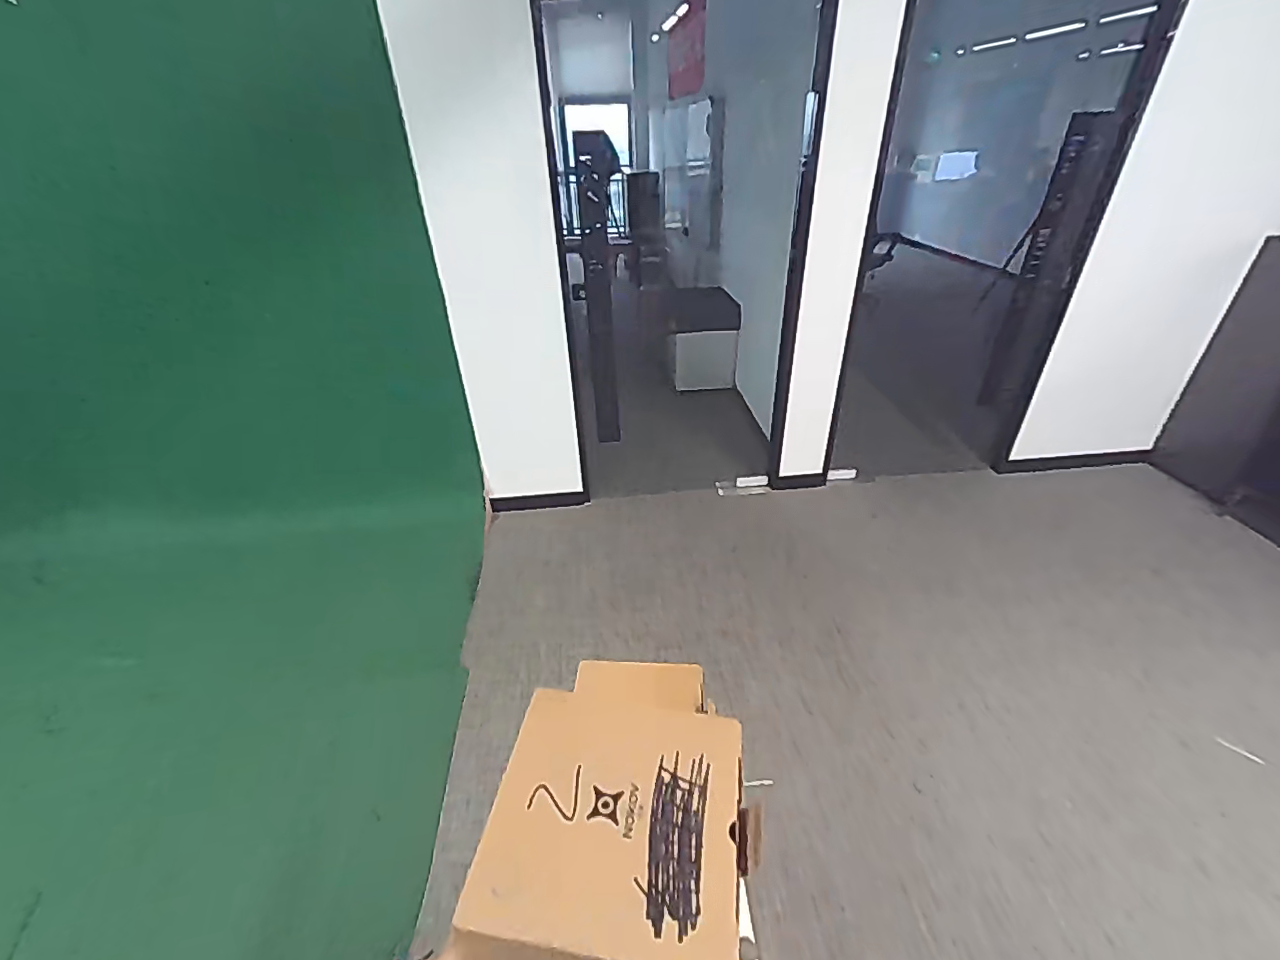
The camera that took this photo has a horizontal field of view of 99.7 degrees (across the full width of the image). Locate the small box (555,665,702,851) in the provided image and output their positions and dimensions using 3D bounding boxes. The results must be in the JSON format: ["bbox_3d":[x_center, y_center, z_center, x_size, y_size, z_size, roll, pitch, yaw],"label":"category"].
[{"bbox_3d":[-0.007,0.376,0.736,0.179,0.176,0.168,1,32,4],"label":"small box"}]

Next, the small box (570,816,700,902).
[{"bbox_3d":[0.002,0.512,0.826,0.179,0.176,0.168,1,33,5],"label":"small box"}]
